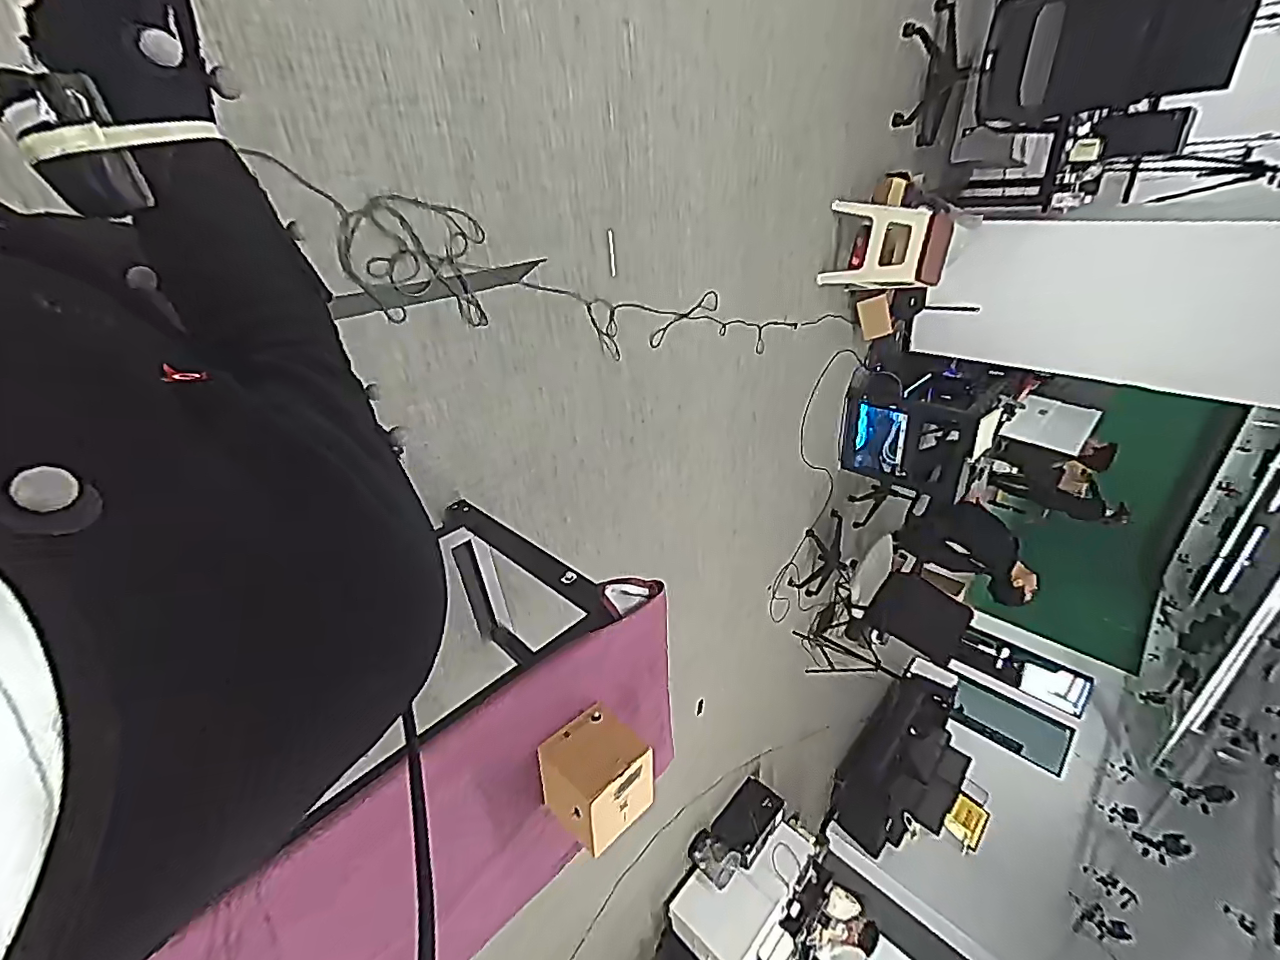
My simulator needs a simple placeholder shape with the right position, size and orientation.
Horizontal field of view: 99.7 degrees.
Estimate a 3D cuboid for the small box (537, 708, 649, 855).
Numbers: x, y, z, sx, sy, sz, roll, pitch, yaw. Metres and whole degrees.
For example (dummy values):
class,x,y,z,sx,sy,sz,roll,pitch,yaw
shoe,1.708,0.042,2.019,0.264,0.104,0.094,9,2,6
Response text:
class,x,y,z,sx,sy,sz,roll,pitch,yaw
small box,-0.099,0.605,1.116,0.168,0.176,0.179,-24,124,-39
